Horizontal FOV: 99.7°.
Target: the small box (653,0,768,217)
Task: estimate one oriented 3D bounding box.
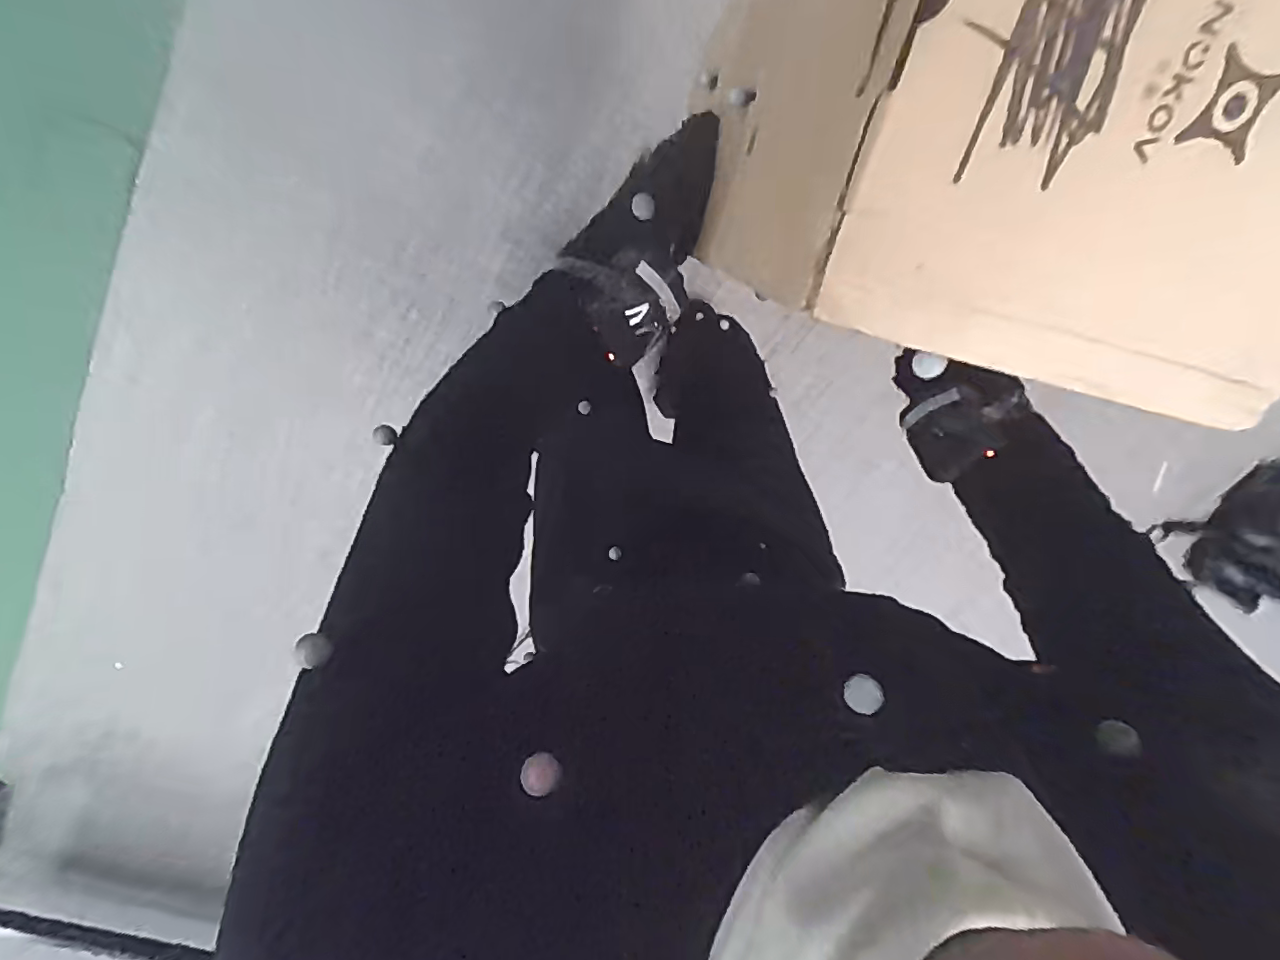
[{"bbox_3d":[0.121,-0.315,0.488,0.179,0.176,0.168,11,117,-11],"label":"small box"}]

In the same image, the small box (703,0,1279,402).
[{"bbox_3d":[0.138,-0.152,0.224,0.179,0.176,0.168,11,117,-10],"label":"small box"}]
